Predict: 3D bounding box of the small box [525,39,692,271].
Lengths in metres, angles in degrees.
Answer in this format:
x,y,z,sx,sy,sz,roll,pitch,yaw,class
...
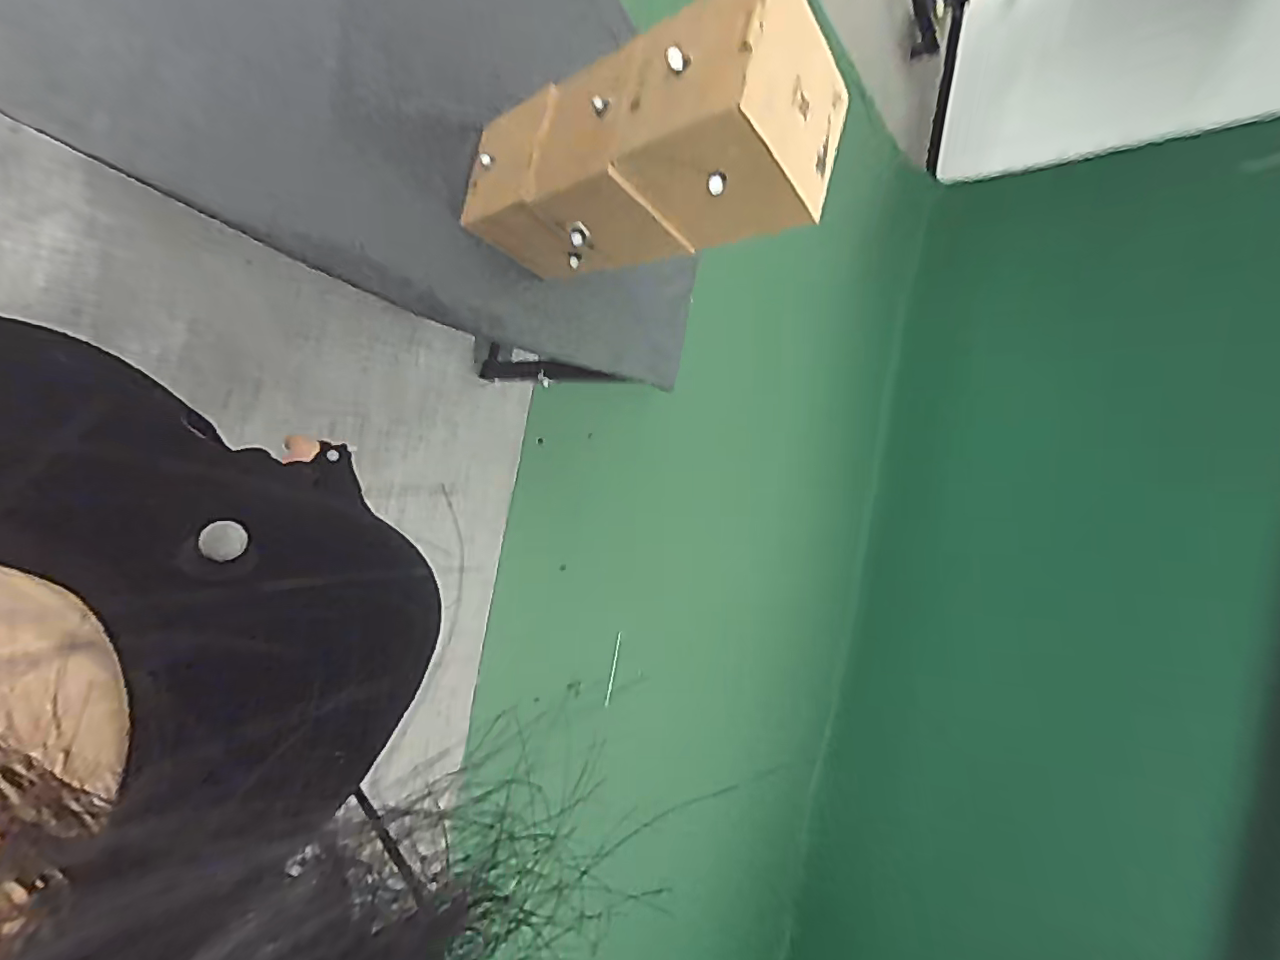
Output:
x,y,z,sx,sy,sz,roll,pitch,yaw,class
-0.026,-0.401,0.705,0.168,0.176,0.179,21,82,-45,small box

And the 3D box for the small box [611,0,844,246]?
x,y,z,sx,sy,sz,roll,pitch,yaw,class
0.094,-0.385,0.594,0.179,0.176,0.168,23,80,-45,small box

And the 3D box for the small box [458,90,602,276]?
x,y,z,sx,sy,sz,roll,pitch,yaw,class
-0.141,-0.426,0.816,0.179,0.176,0.168,18,83,-47,small box
